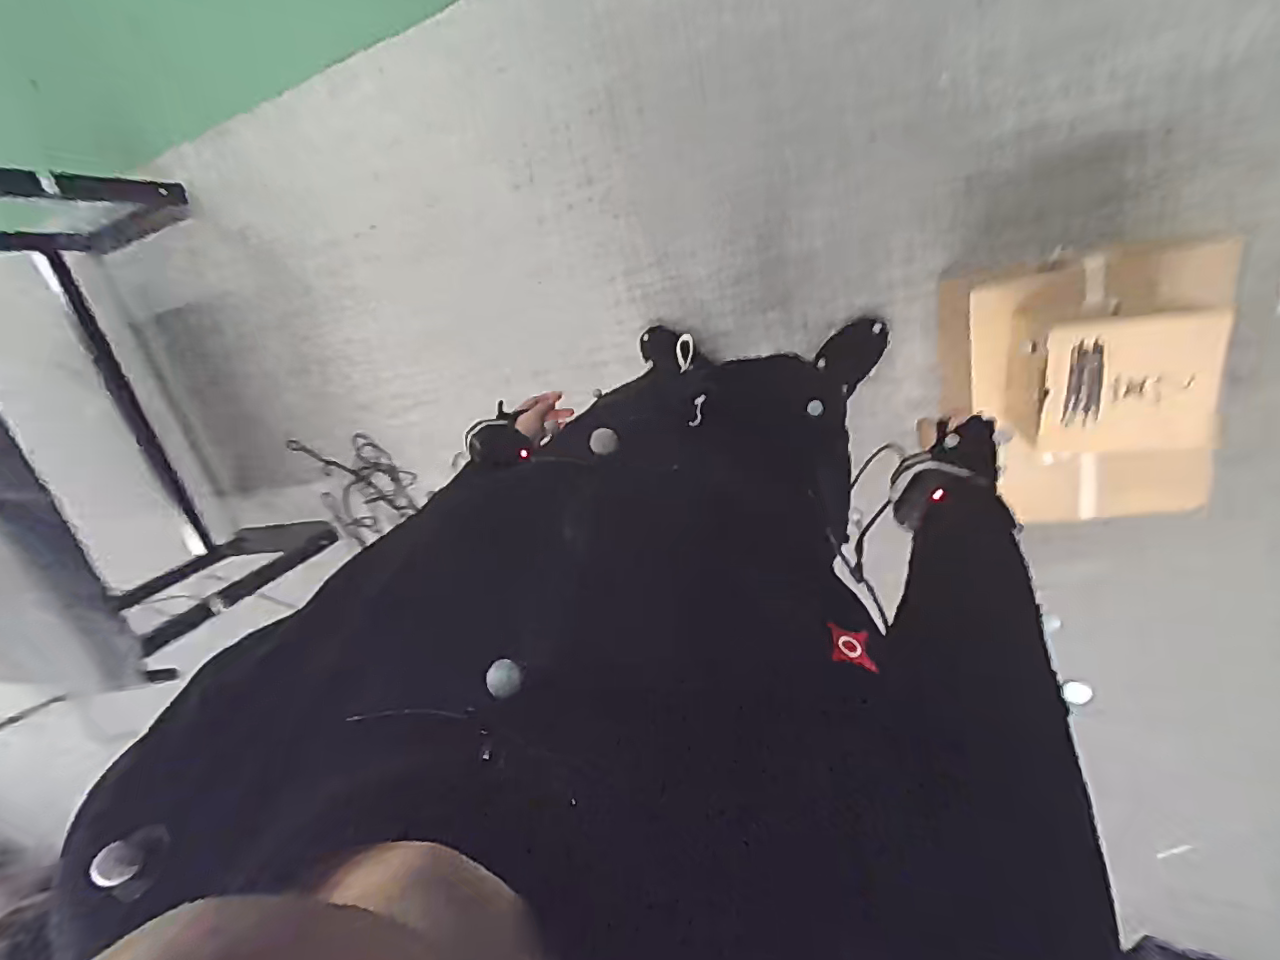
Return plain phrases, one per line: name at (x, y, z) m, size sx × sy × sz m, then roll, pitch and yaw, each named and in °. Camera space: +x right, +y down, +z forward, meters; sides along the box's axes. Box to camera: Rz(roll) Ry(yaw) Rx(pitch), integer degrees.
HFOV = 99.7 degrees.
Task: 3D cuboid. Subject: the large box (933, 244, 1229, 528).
large box at (0.735, -0.171, 0.966) m, size 0.320 × 0.320 × 0.408 m, roll -6°, pitch 111°, yaw 22°
